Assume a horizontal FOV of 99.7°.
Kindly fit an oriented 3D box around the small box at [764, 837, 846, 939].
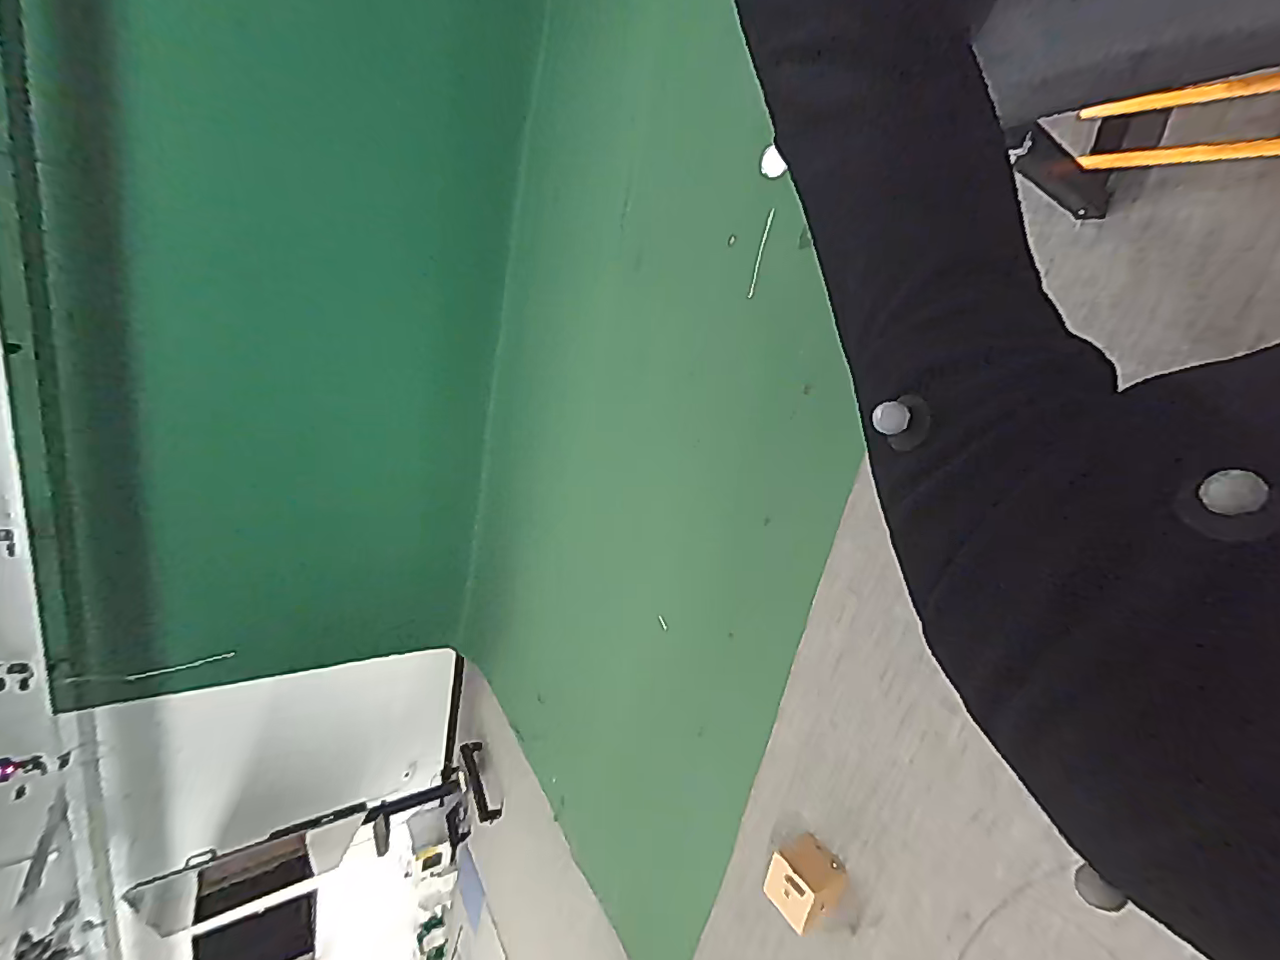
[{"bbox_3d":[0.535,1.304,1.745,0.168,0.176,0.179,30,114,51],"label":"small box"}]
